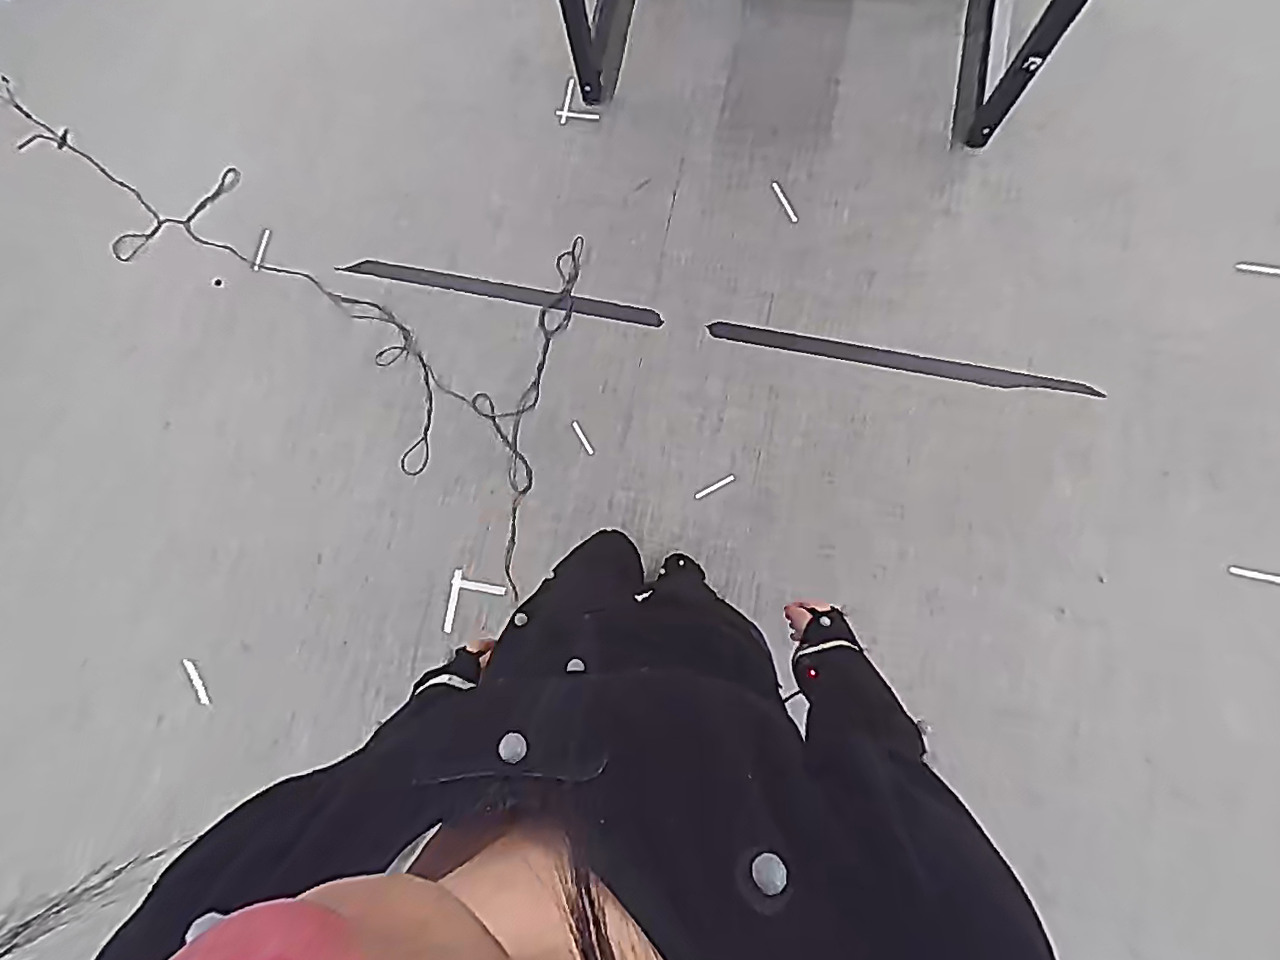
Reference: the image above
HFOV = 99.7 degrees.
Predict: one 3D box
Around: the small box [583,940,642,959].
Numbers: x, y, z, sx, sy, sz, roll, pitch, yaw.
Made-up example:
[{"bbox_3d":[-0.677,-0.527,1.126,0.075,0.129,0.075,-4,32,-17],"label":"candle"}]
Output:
[{"bbox_3d":[-0.079,1.252,1.278,0.168,0.176,0.179,13,83,7],"label":"small box"}]
